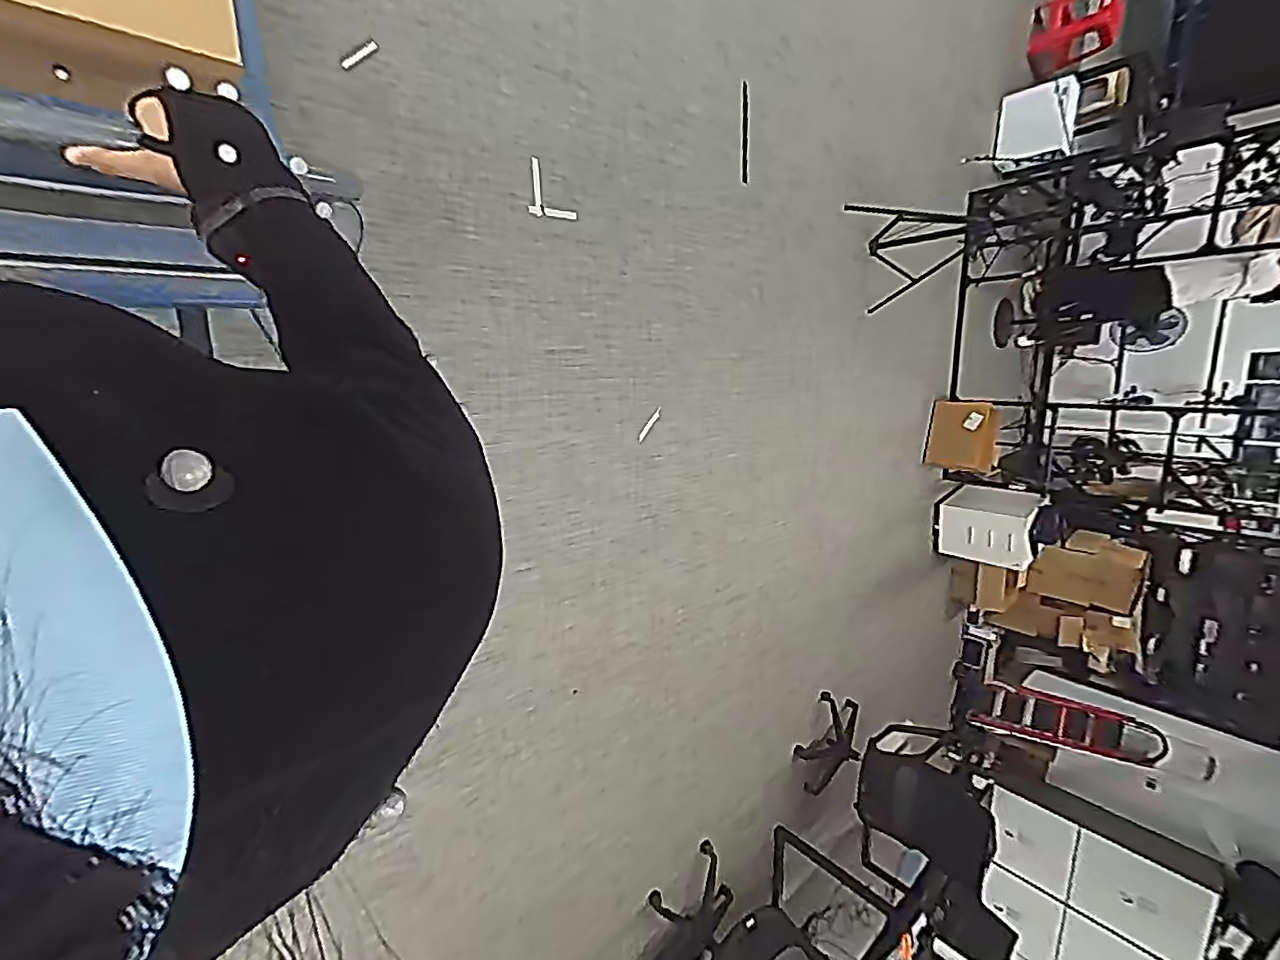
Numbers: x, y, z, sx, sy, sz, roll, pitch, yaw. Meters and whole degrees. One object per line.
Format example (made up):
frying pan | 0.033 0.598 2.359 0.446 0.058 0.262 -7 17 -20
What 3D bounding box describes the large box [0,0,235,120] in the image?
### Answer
large box | -0.841 -0.759 0.744 0.408 0.320 0.320 -11 105 -39
